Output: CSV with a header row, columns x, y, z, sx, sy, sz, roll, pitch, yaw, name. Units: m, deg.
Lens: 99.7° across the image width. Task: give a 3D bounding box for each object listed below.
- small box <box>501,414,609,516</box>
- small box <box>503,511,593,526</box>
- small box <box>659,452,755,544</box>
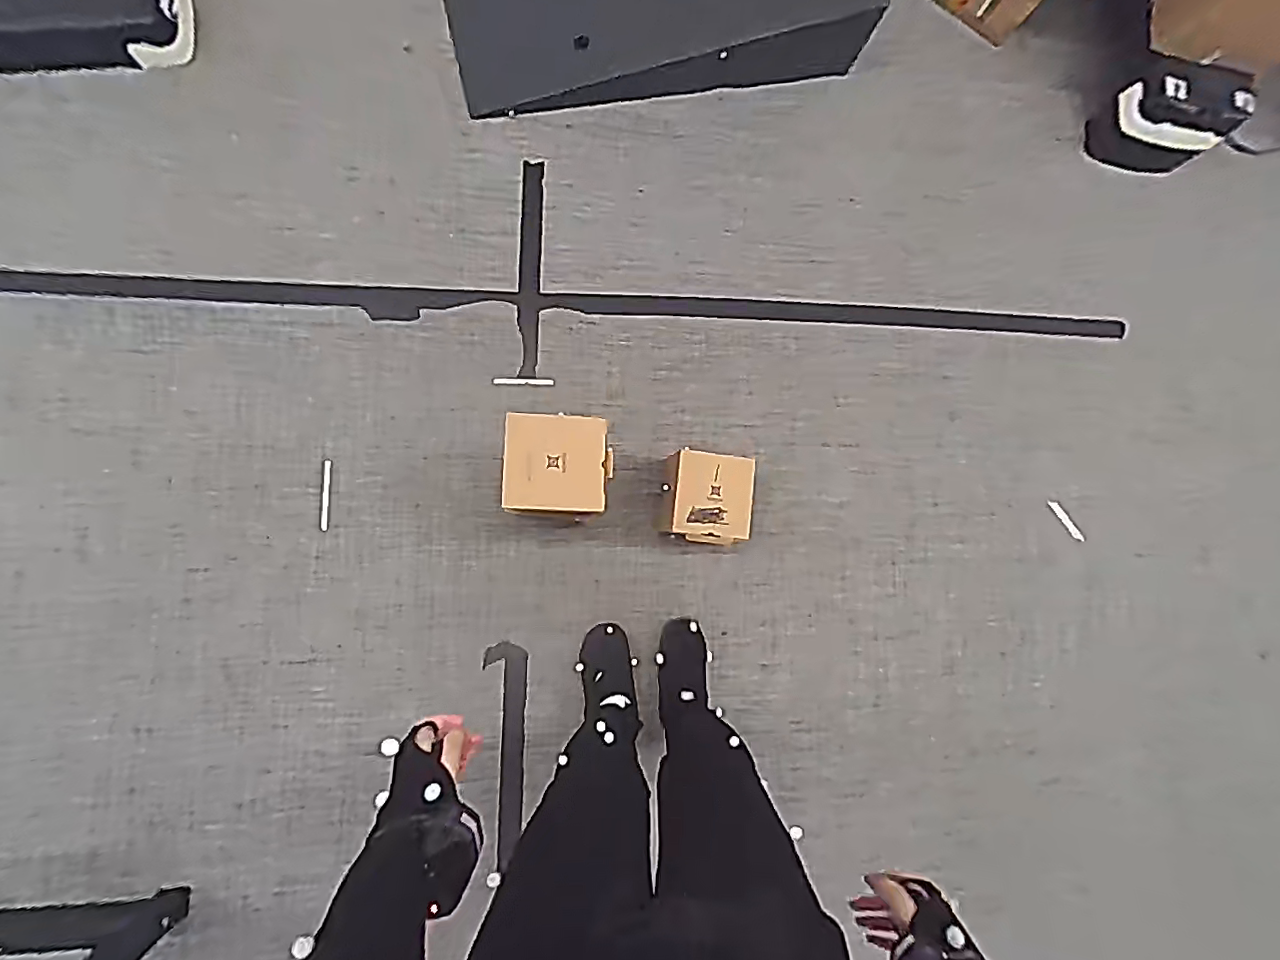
x,y,z,sx,sy,sz,roll,pitch,yaw,name
-0.153,-0.019,0.993,0.179,0.176,0.168,3,85,-7,small box
-0.187,0.006,1.152,0.179,0.176,0.168,7,84,-8,small box
0.141,0.044,1.197,0.168,0.176,0.179,8,84,-8,small box
